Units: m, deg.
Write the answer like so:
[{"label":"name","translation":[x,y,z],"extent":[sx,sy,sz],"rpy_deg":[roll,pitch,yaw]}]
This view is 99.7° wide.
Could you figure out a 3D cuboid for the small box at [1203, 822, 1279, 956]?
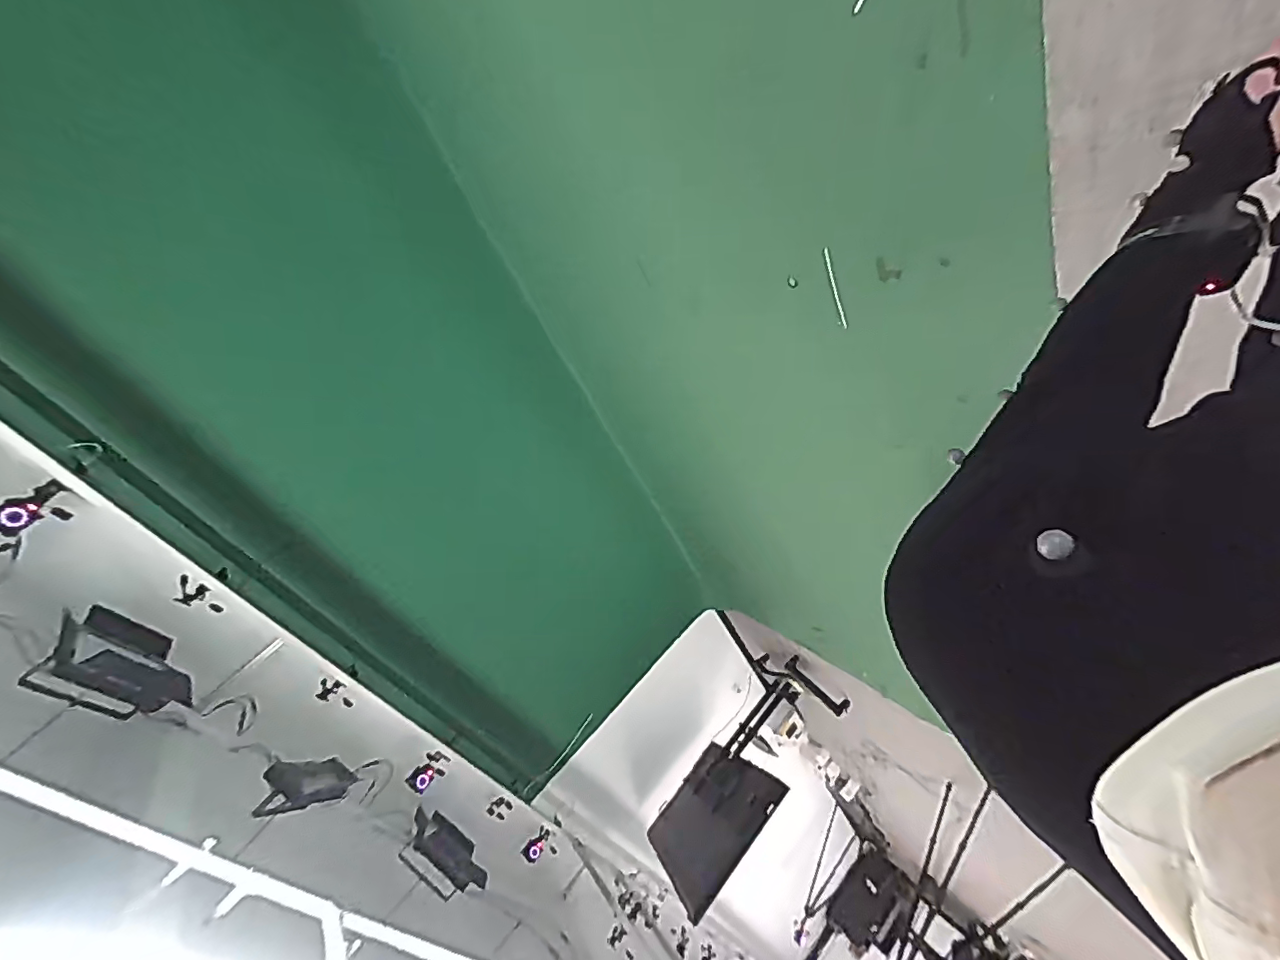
[{"label":"small box","translation":[1.335,0.873,1.137],"extent":[0.168,0.176,0.179],"rpy_deg":[20,148,53]}]

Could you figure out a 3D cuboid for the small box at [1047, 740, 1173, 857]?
[{"label":"small box","translation":[1.154,0.775,1.335],"extent":[0.179,0.176,0.168],"rpy_deg":[27,154,43]}]
